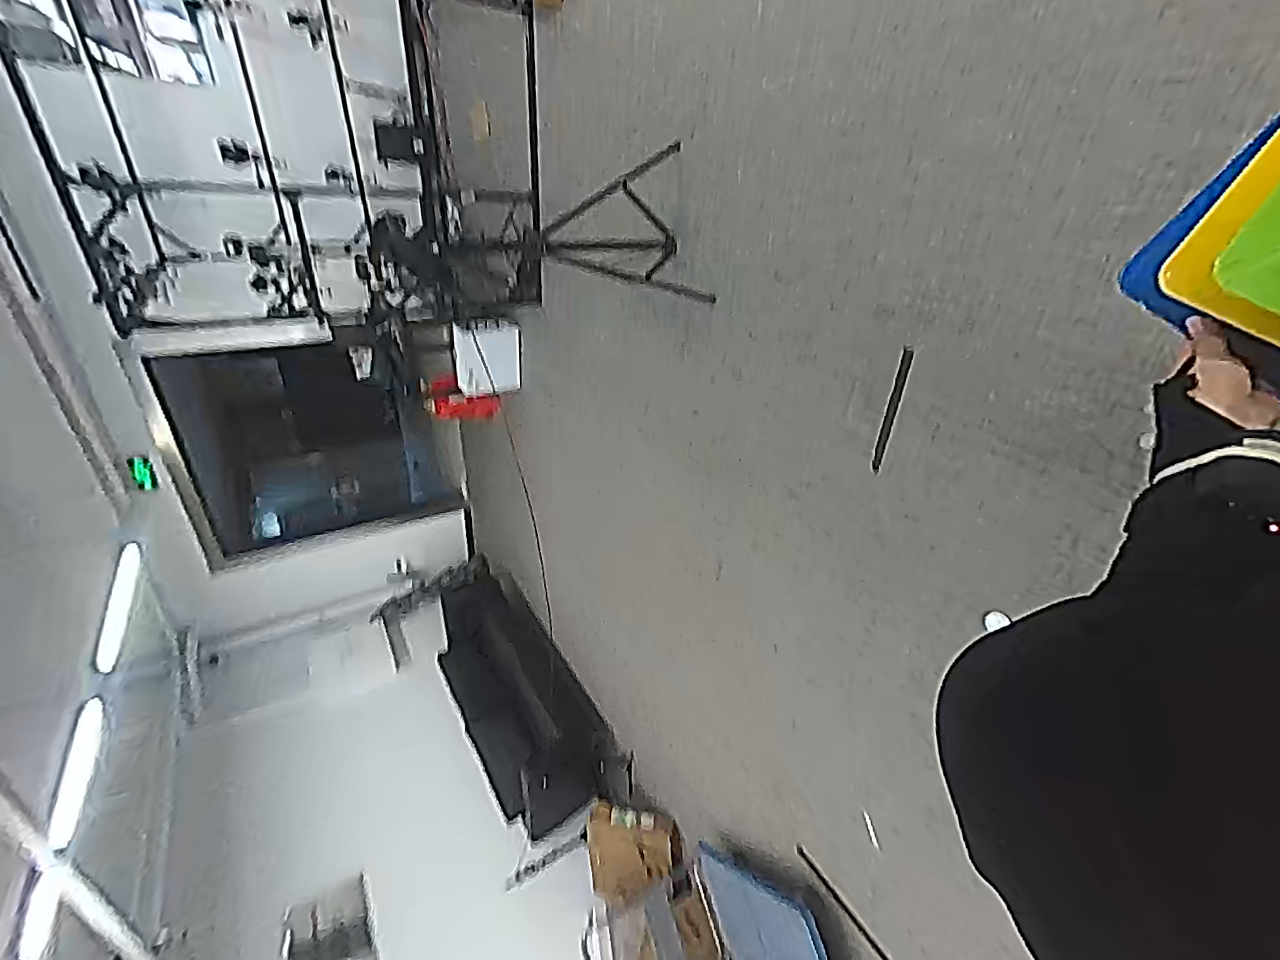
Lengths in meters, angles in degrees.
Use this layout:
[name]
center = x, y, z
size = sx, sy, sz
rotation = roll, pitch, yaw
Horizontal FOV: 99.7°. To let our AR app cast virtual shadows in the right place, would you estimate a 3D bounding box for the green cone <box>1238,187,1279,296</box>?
[green cone]
center = 0.427, -0.147, 0.137
size = 0.200, 0.368, 0.202
rotation = 35, 109, 16
